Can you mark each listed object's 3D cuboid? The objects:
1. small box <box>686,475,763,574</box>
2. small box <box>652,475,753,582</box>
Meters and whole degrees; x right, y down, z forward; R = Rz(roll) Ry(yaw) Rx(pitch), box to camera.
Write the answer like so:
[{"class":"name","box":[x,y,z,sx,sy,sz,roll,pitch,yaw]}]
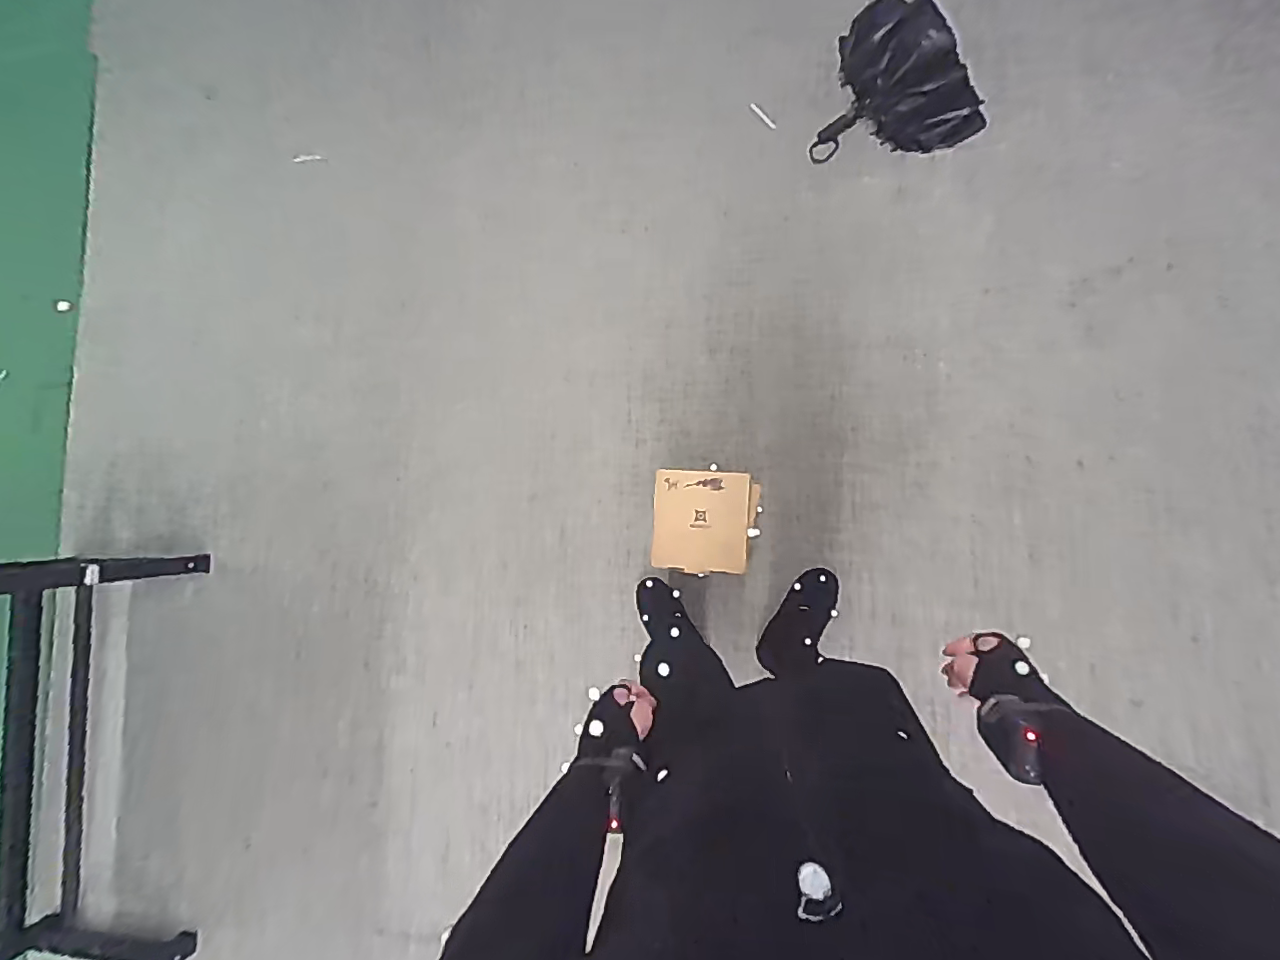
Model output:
[{"class":"small box","box":[0.166,0.097,1.179,0.168,0.176,0.179,13,89,12]},{"class":"small box","box":[0.124,0.088,1.021,0.168,0.176,0.179,4,87,12]}]
